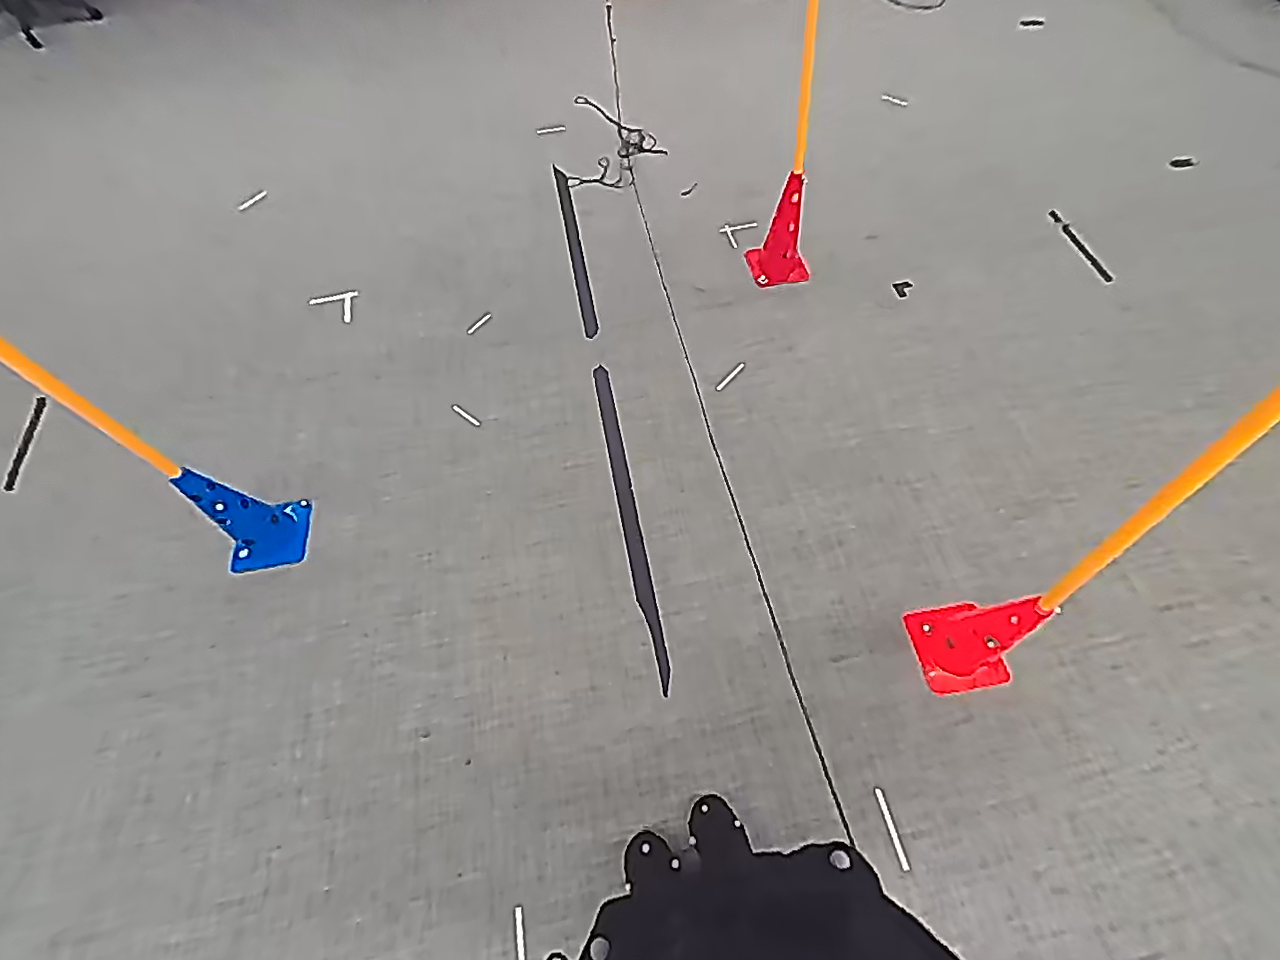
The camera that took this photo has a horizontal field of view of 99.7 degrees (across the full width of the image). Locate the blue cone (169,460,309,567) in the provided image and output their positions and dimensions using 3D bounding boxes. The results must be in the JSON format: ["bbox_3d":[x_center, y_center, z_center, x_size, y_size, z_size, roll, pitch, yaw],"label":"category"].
[{"bbox_3d":[-1.052,0.070,1.393,0.193,0.380,0.192,-8,60,-3],"label":"blue cone"}]

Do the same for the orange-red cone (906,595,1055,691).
[{"bbox_3d":[0.764,0.318,1.162,0.198,0.360,0.199,-8,62,-2],"label":"orange-red cone"}]
